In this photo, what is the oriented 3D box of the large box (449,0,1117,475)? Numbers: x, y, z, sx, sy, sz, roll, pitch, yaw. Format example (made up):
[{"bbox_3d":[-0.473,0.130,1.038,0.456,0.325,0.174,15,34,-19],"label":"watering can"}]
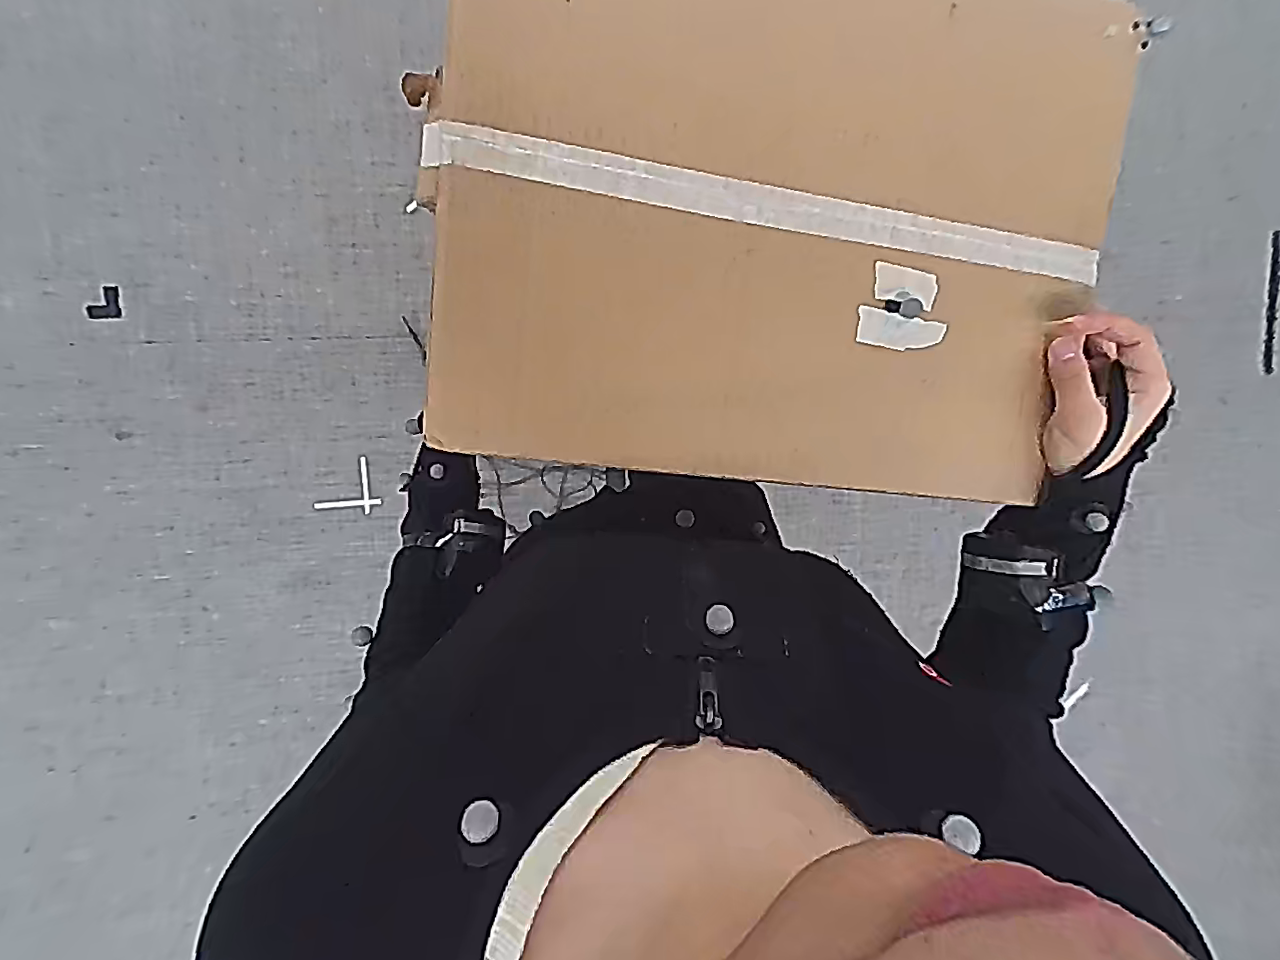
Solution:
[{"bbox_3d":[0.068,-0.187,0.466,0.408,0.320,0.320,5,98,-13],"label":"large box"}]
